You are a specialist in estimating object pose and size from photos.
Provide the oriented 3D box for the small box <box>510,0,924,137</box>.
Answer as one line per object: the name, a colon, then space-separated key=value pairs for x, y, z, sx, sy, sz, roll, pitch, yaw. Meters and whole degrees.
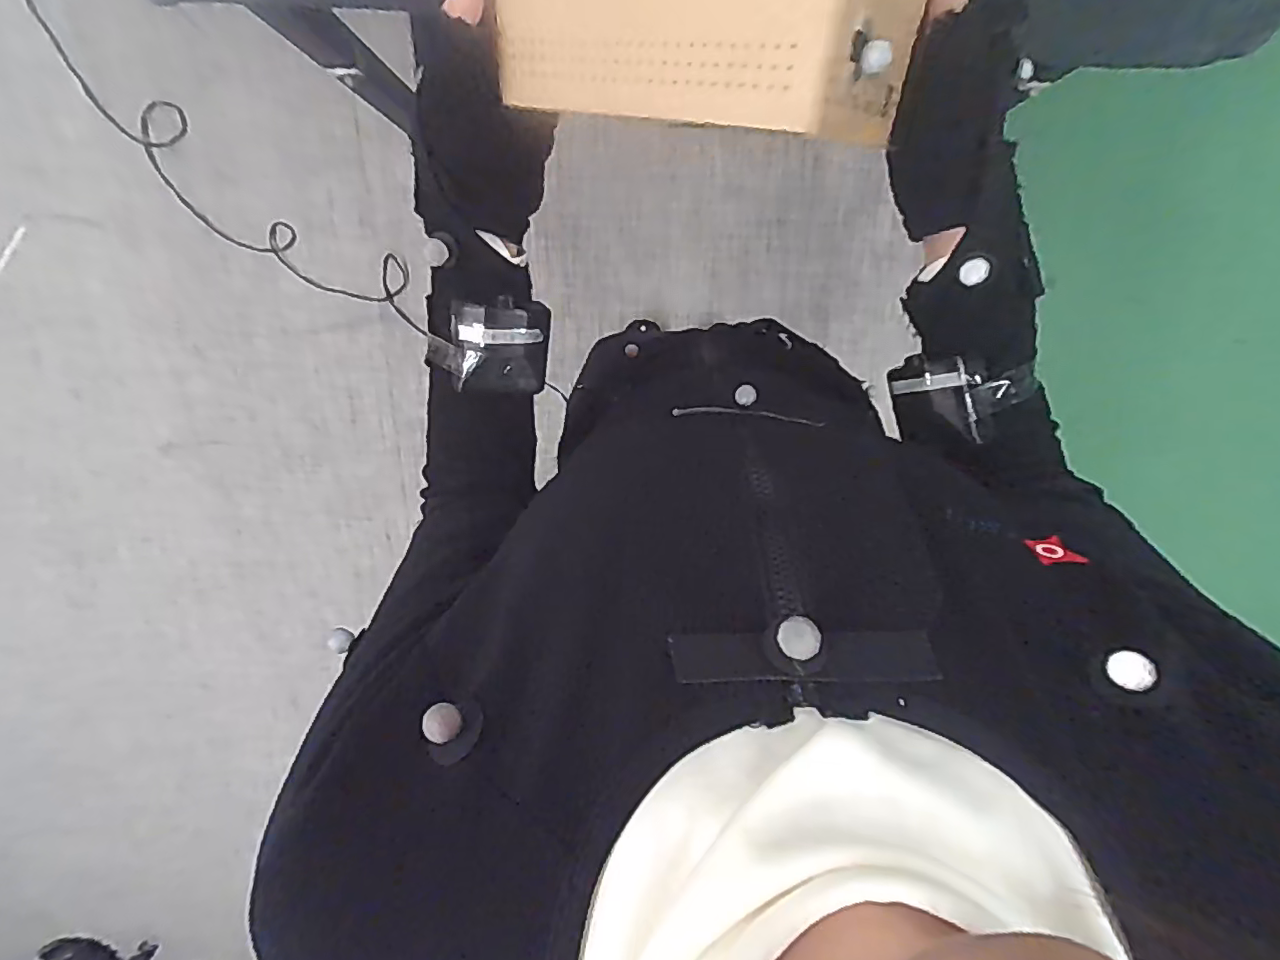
small box: x=0.050 y=-0.281 z=0.275 sx=0.179 sy=0.168 sz=0.176 roll=22 pitch=125 yaw=25
